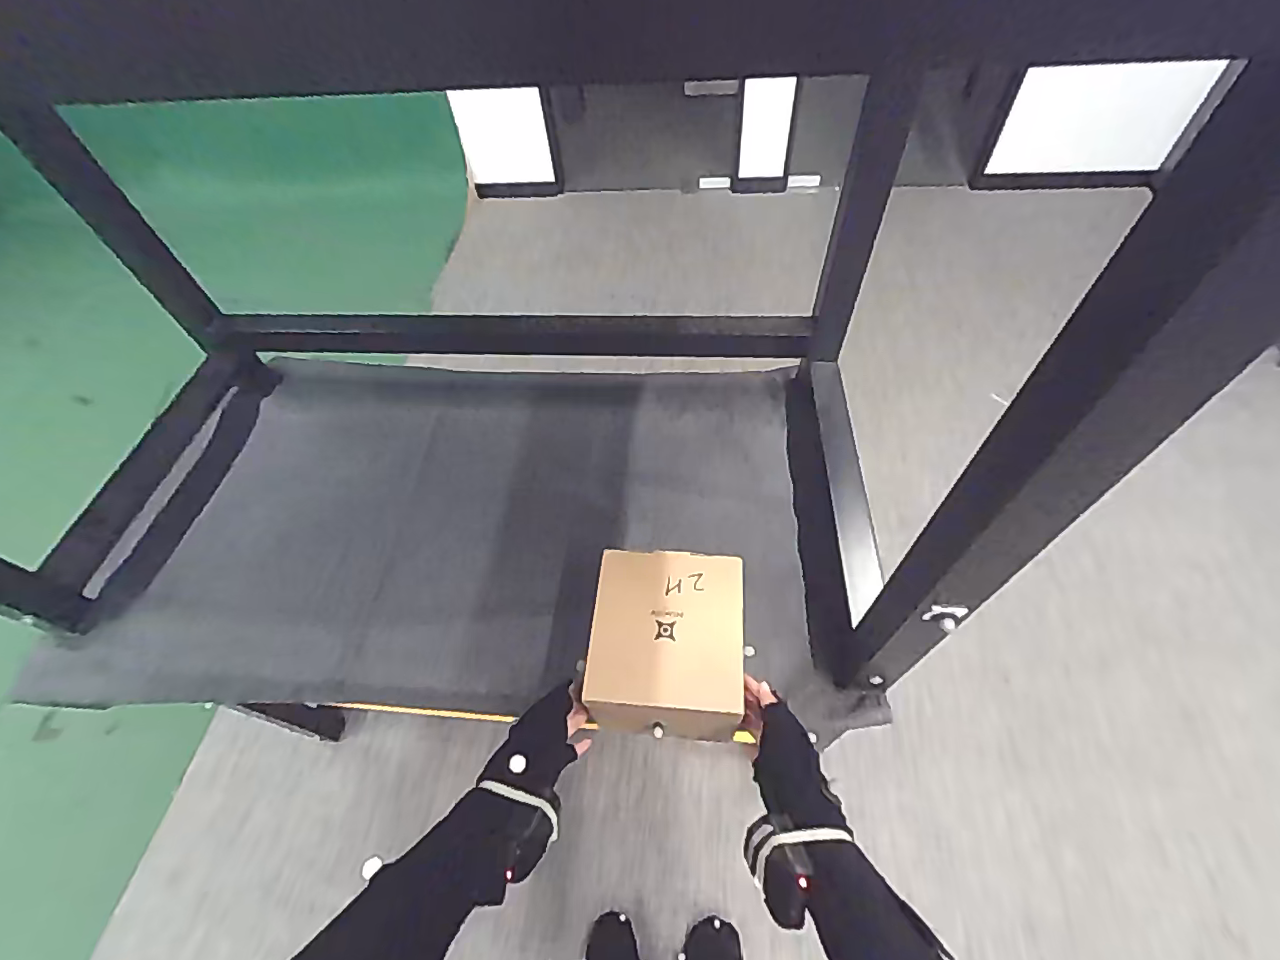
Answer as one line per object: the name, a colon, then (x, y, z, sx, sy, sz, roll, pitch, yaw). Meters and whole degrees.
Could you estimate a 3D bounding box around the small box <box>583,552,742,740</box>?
small box: (0.036, 0.207, 0.659, 0.168, 0.176, 0.179, 3, 55, 6)
